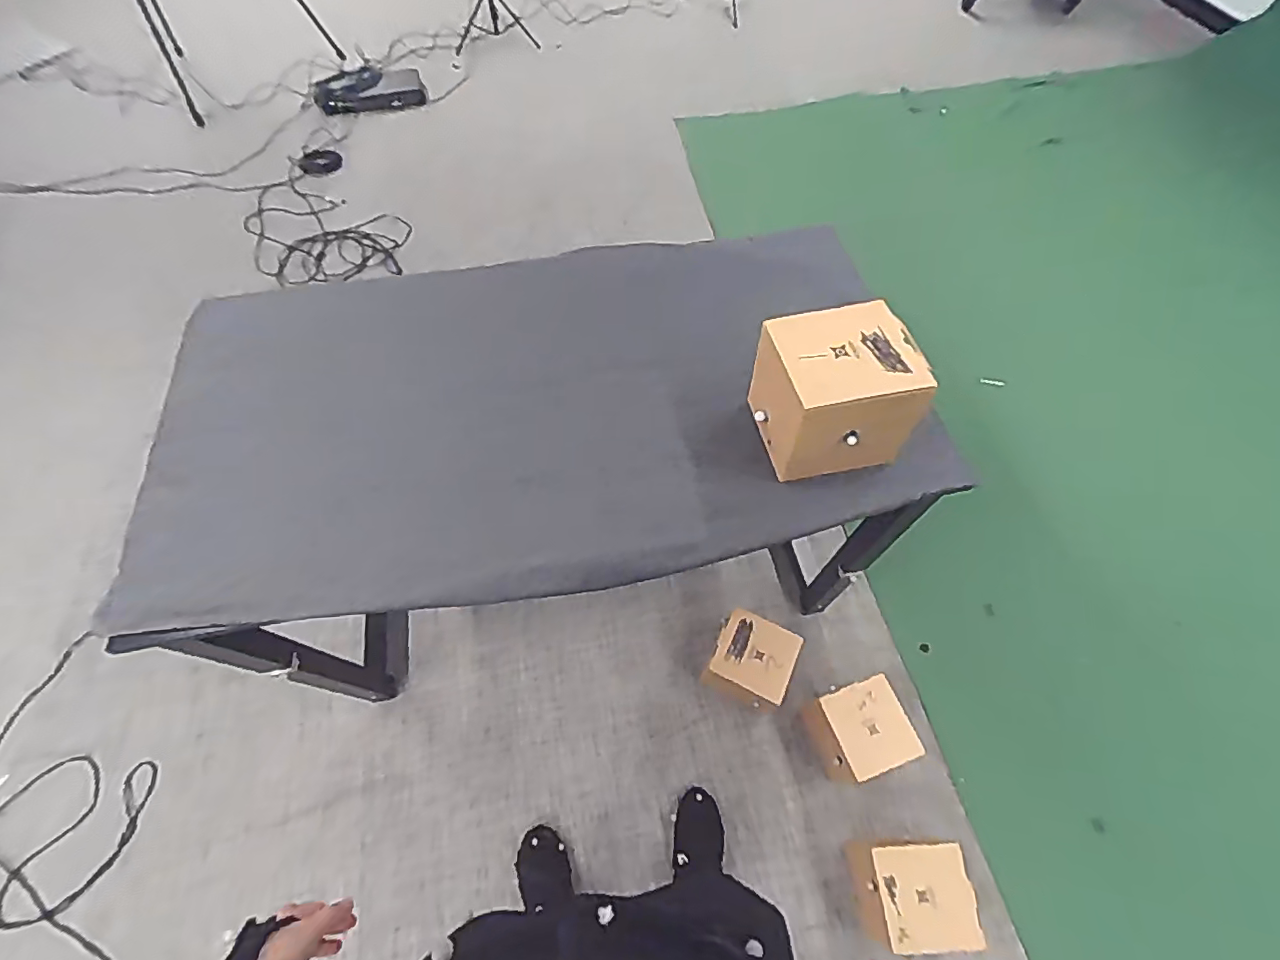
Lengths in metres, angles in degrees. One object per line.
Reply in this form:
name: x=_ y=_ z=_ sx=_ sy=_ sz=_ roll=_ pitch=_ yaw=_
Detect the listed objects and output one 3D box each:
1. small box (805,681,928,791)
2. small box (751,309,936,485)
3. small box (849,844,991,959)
small box: x=0.499 y=0.577 z=1.218 sx=0.168 sy=0.176 sz=0.179 roll=-17 pitch=62 yaw=-9
small box: x=0.271 y=-0.113 z=0.768 sx=0.179 sy=0.176 sz=0.168 roll=-10 pitch=57 yaw=-3
small box: x=0.543 y=0.832 z=1.074 sx=0.179 sy=0.176 sz=0.168 roll=-2 pitch=62 yaw=0
